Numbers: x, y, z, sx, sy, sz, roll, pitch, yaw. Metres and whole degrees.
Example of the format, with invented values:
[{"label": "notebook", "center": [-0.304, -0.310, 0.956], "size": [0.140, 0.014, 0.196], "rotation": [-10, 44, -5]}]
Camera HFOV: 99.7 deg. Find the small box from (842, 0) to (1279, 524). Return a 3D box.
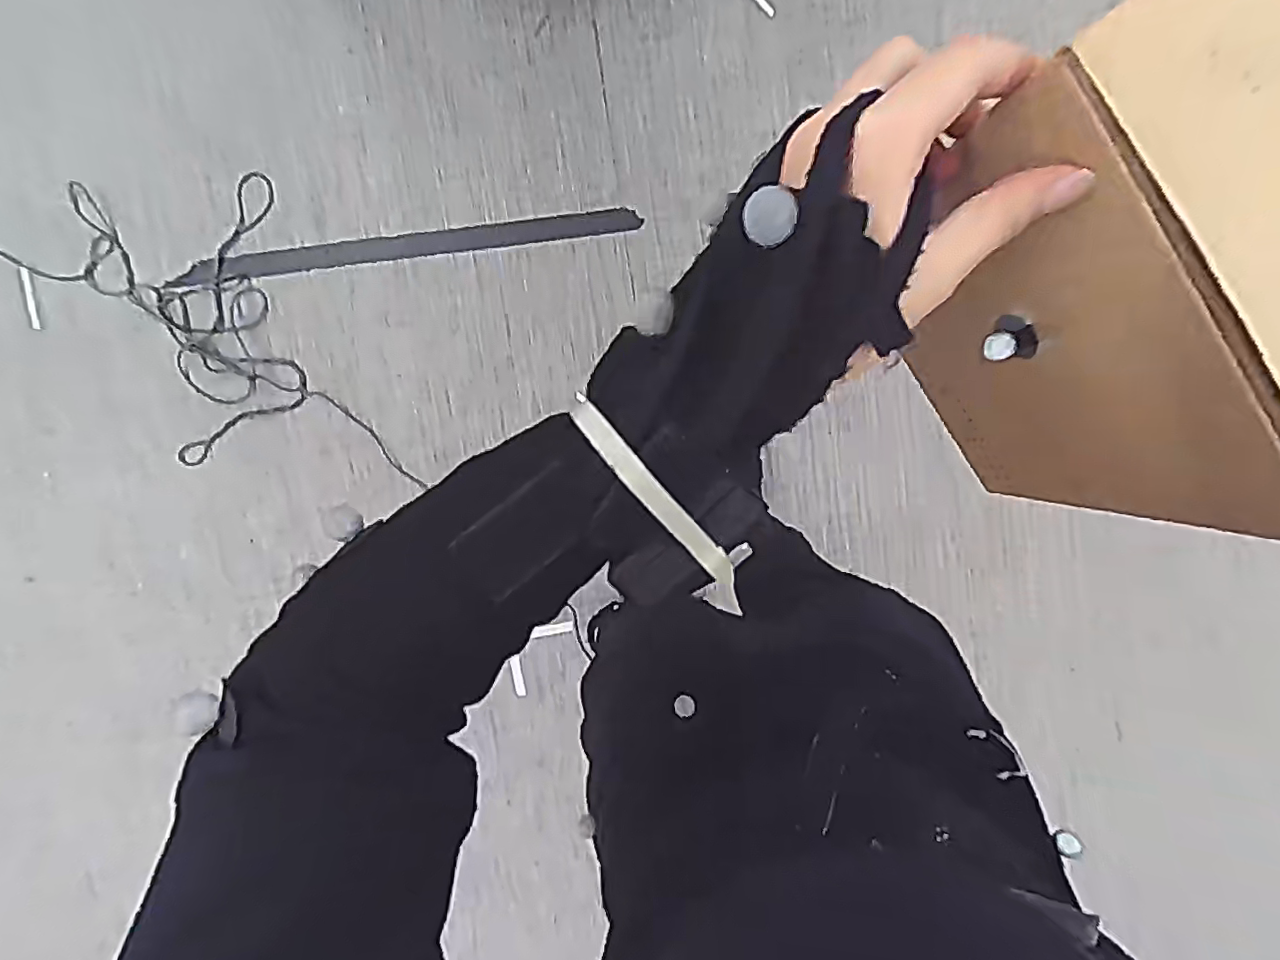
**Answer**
[{"label": "small box", "center": [0.223, -0.106, 0.229], "size": [0.168, 0.176, 0.179], "rotation": [-35, 93, 1]}]
